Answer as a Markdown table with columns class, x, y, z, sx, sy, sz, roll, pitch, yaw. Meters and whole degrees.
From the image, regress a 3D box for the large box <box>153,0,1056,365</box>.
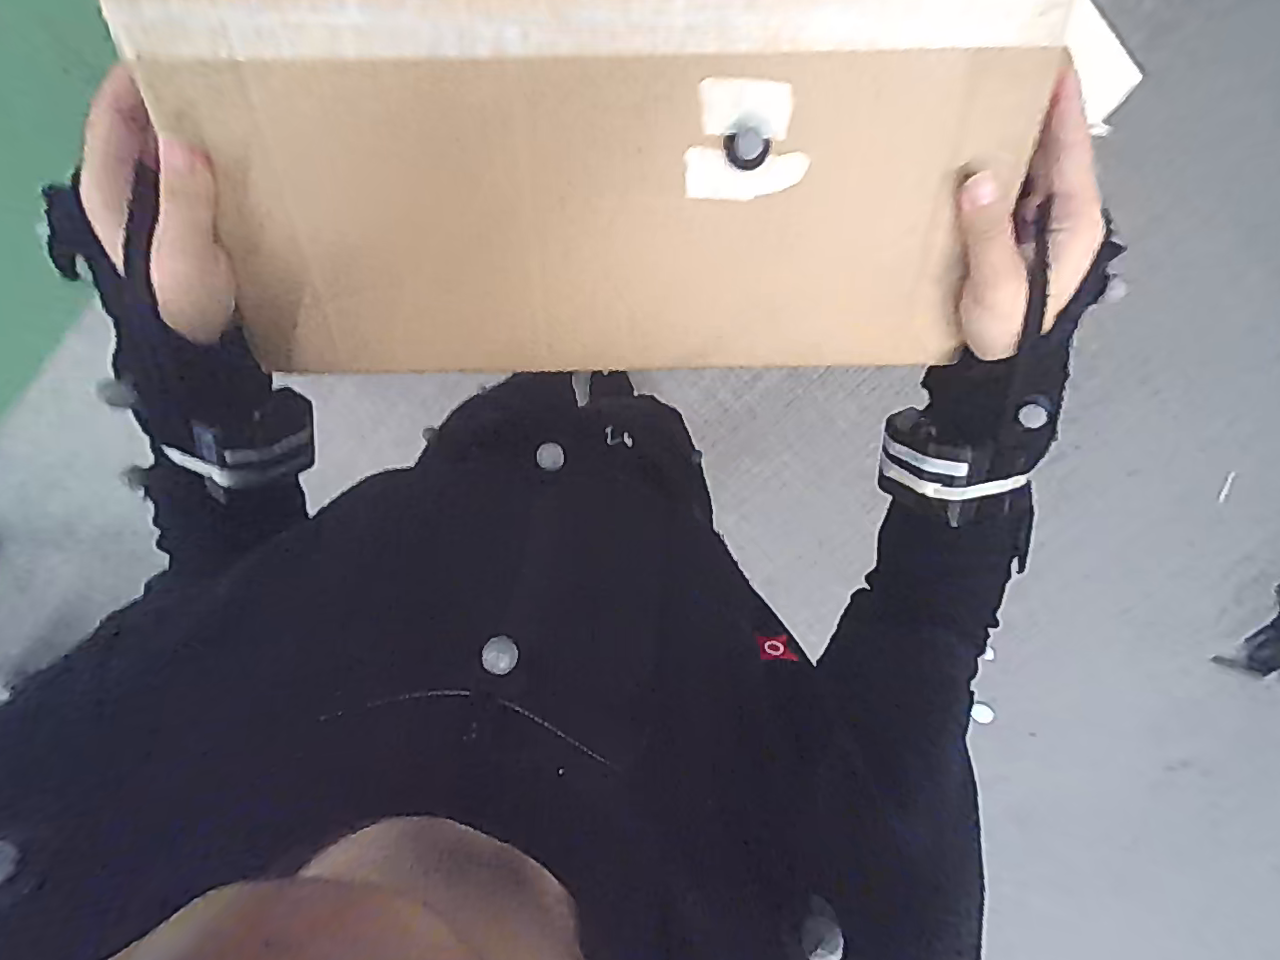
| class | x | y | z | sx | sy | sz | roll | pitch | yaw |
| --- | --- | --- | --- | --- | --- | --- | --- | --- | --- |
| large box | -0.019 | -0.287 | 0.363 | 0.408 | 0.320 | 0.320 | -3 | 124 | -2 |
